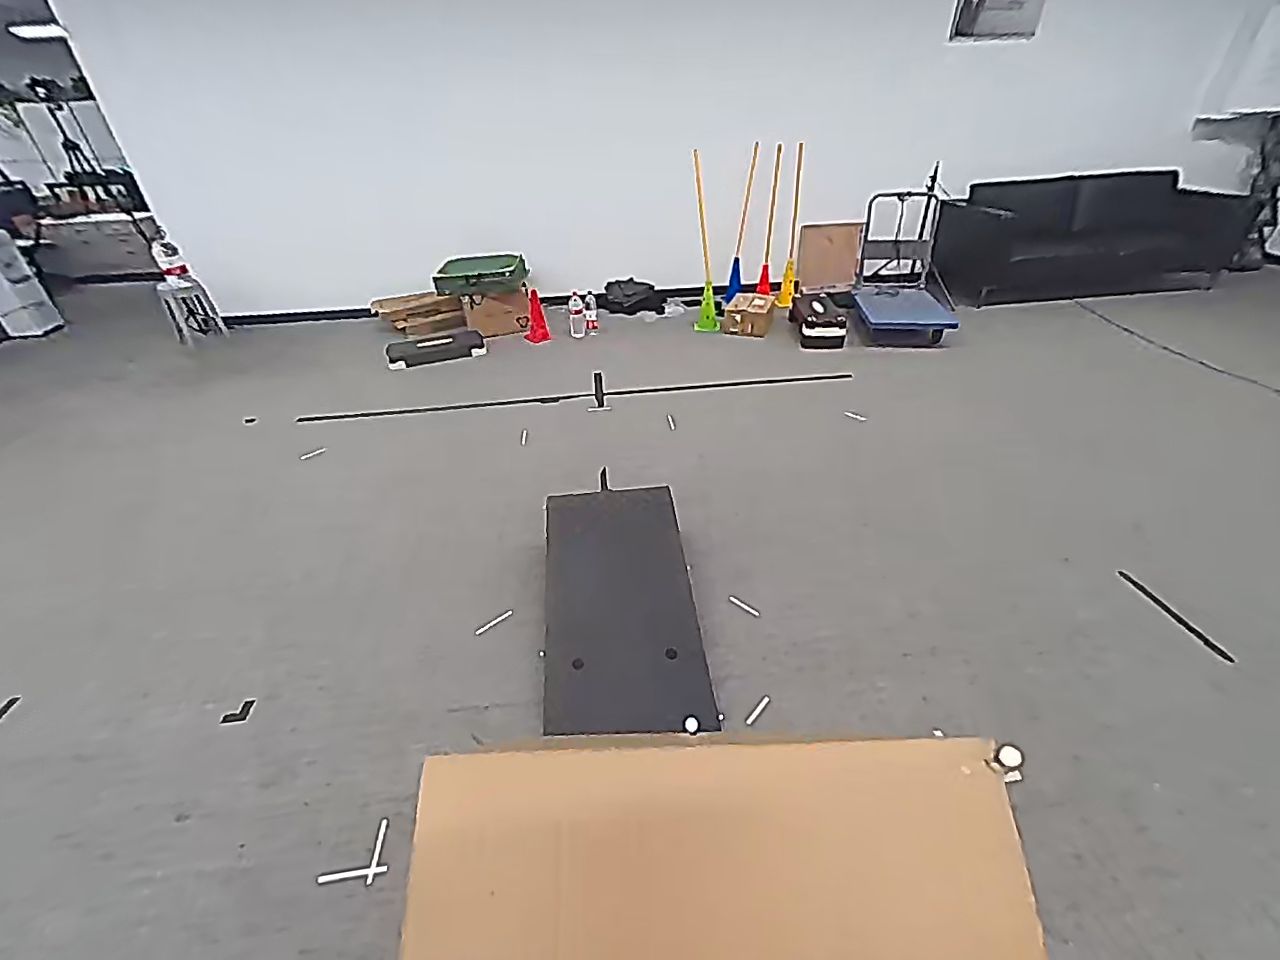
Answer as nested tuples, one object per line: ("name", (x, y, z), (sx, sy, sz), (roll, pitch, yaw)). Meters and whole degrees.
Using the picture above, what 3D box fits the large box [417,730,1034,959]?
("large box", (0.055, 0.400, 0.471), (0.408, 0.320, 0.320), (-2, 68, 0))

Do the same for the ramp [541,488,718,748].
("ramp", (-0.078, 0.408, 1.794), (0.509, 0.206, 0.991), (-5, 35, -7))
